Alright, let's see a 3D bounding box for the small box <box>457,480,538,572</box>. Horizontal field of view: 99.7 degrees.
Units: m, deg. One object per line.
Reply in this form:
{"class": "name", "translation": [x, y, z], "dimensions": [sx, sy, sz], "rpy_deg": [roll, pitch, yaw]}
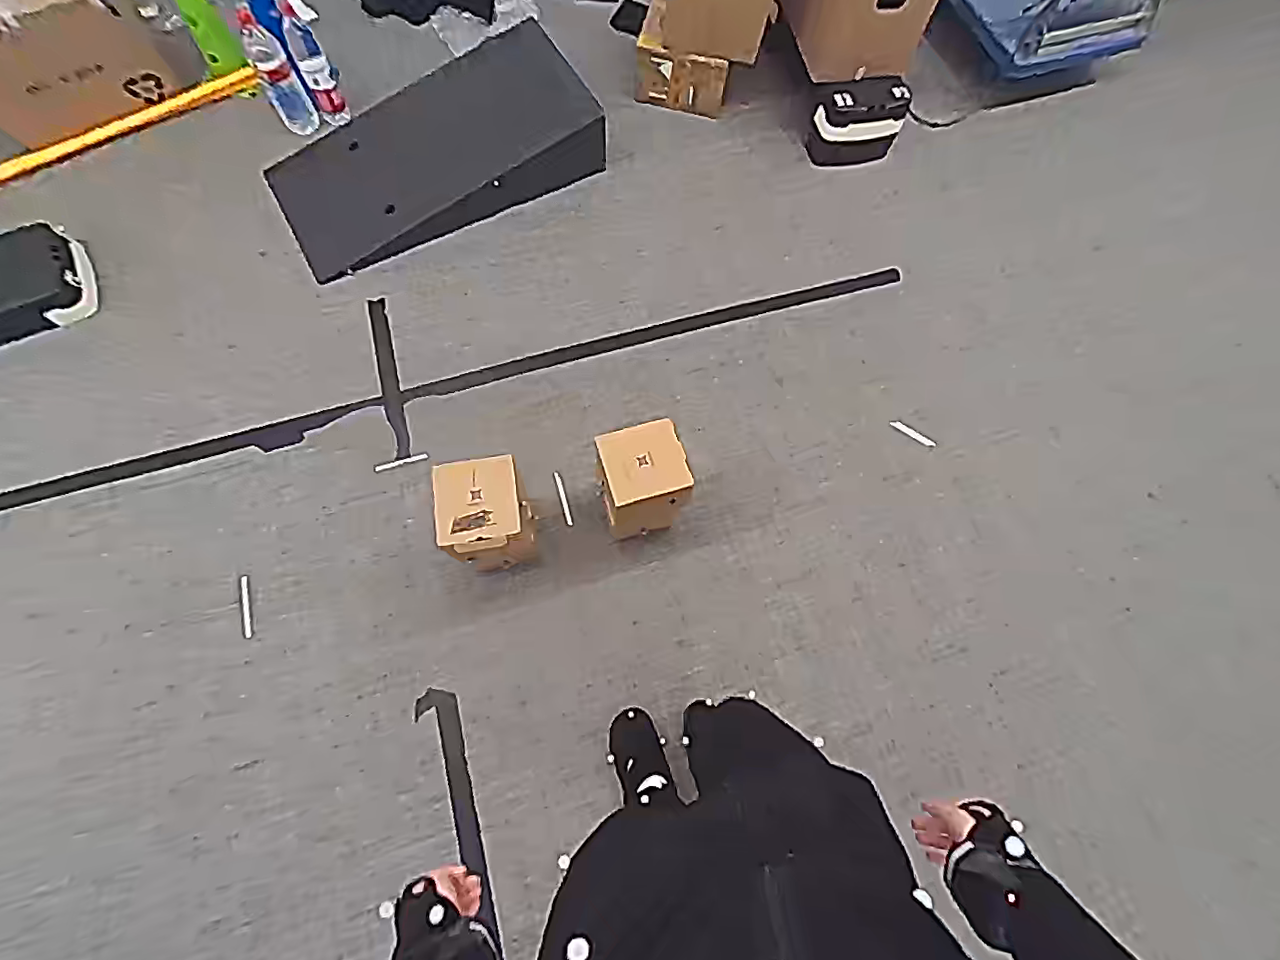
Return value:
{"class": "small box", "translation": [-0.350, 0.116, 1.314], "dimensions": [0.179, 0.176, 0.168], "rpy_deg": [-13, 72, -9]}

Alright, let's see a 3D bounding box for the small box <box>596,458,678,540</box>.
{"class": "small box", "translation": [-0.014, 0.036, 1.361], "dimensions": [0.168, 0.176, 0.179], "rpy_deg": [-13, 73, -7]}

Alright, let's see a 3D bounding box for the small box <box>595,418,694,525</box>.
{"class": "small box", "translation": [0.004, -0.013, 1.207], "dimensions": [0.179, 0.176, 0.168], "rpy_deg": [-15, 72, -8]}

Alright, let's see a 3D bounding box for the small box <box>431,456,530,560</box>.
{"class": "small box", "translation": [-0.334, 0.067, 1.157], "dimensions": [0.168, 0.176, 0.179], "rpy_deg": [-9, 71, -7]}
